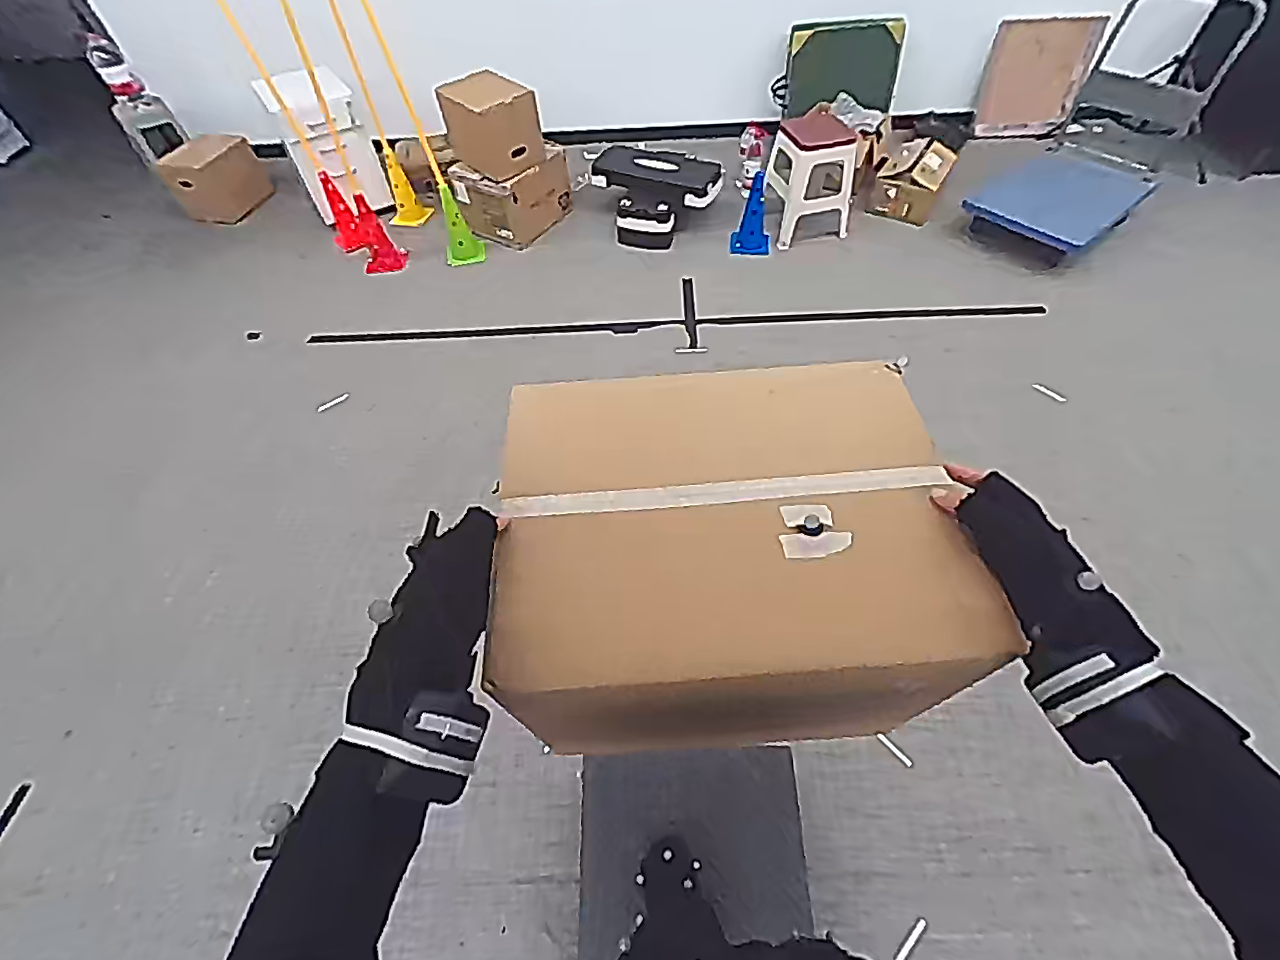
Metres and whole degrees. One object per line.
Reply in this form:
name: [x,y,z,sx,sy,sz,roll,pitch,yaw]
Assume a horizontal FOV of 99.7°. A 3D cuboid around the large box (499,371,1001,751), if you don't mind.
large box: [0.080,0.104,0.624,0.408,0.320,0.320,-4,55,-1]
